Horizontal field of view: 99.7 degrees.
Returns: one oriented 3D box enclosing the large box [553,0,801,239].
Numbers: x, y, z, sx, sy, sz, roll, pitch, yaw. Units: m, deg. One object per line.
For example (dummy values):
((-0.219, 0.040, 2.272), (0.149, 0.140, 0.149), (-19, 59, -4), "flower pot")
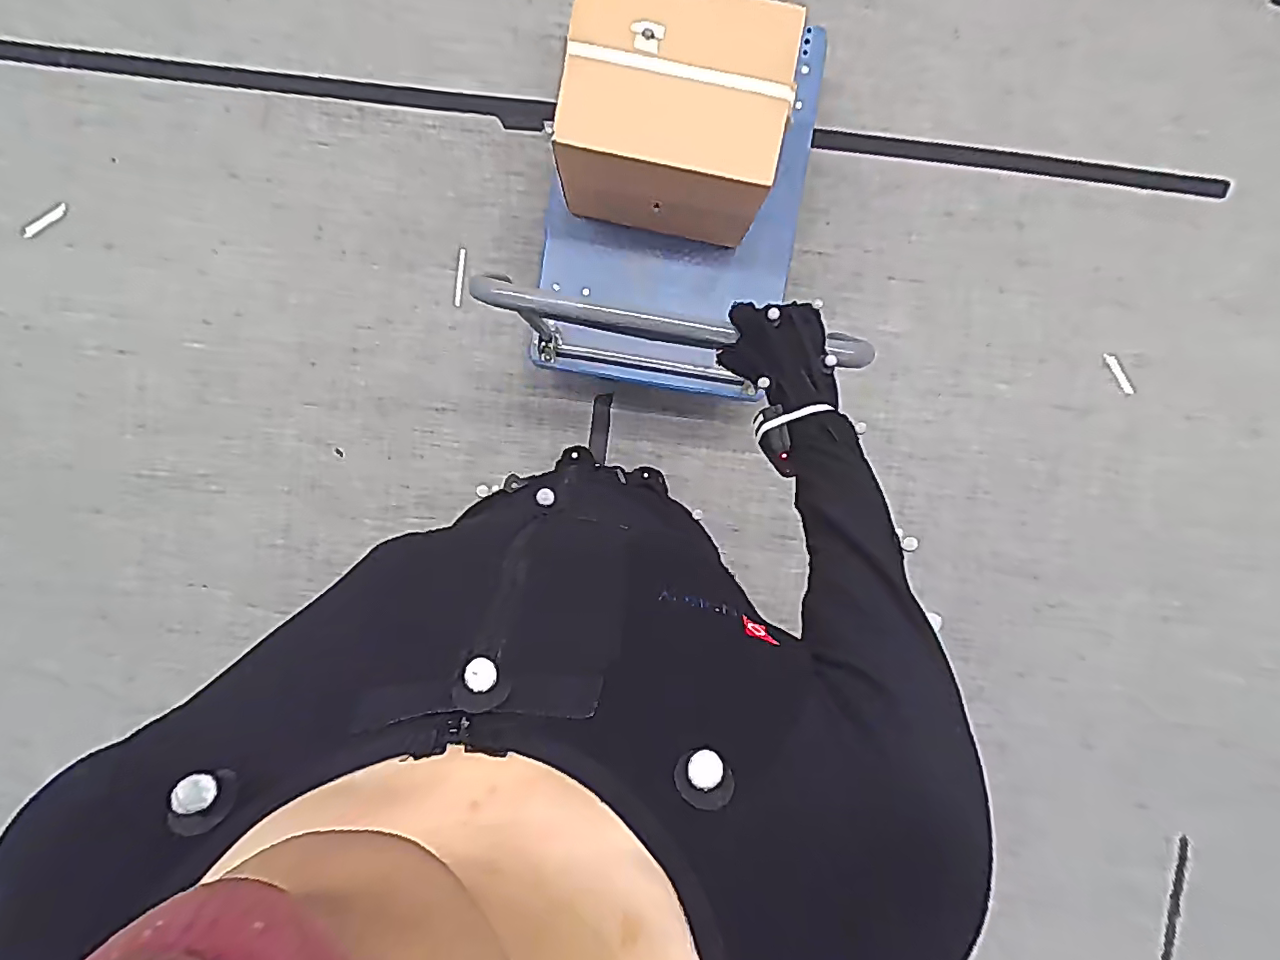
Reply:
((0.066, -0.728, 1.103), (0.408, 0.320, 0.320), (10, 94, -1), "large box")
